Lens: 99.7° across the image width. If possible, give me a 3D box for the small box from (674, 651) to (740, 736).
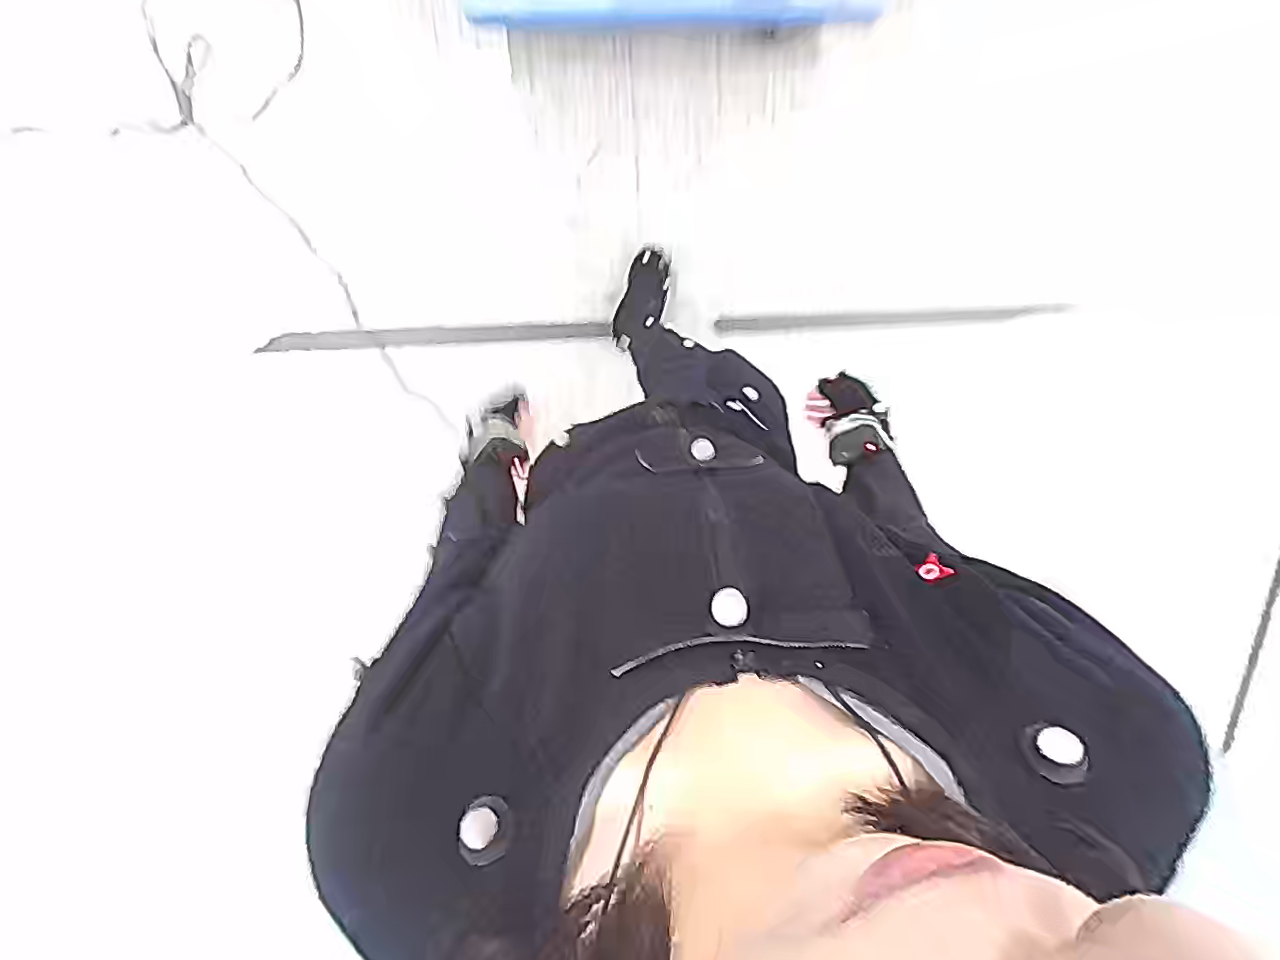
[{"bbox_3d":[0.198,0.641,1.633,0.168,0.176,0.179,0,105,-5],"label":"small box"}]
